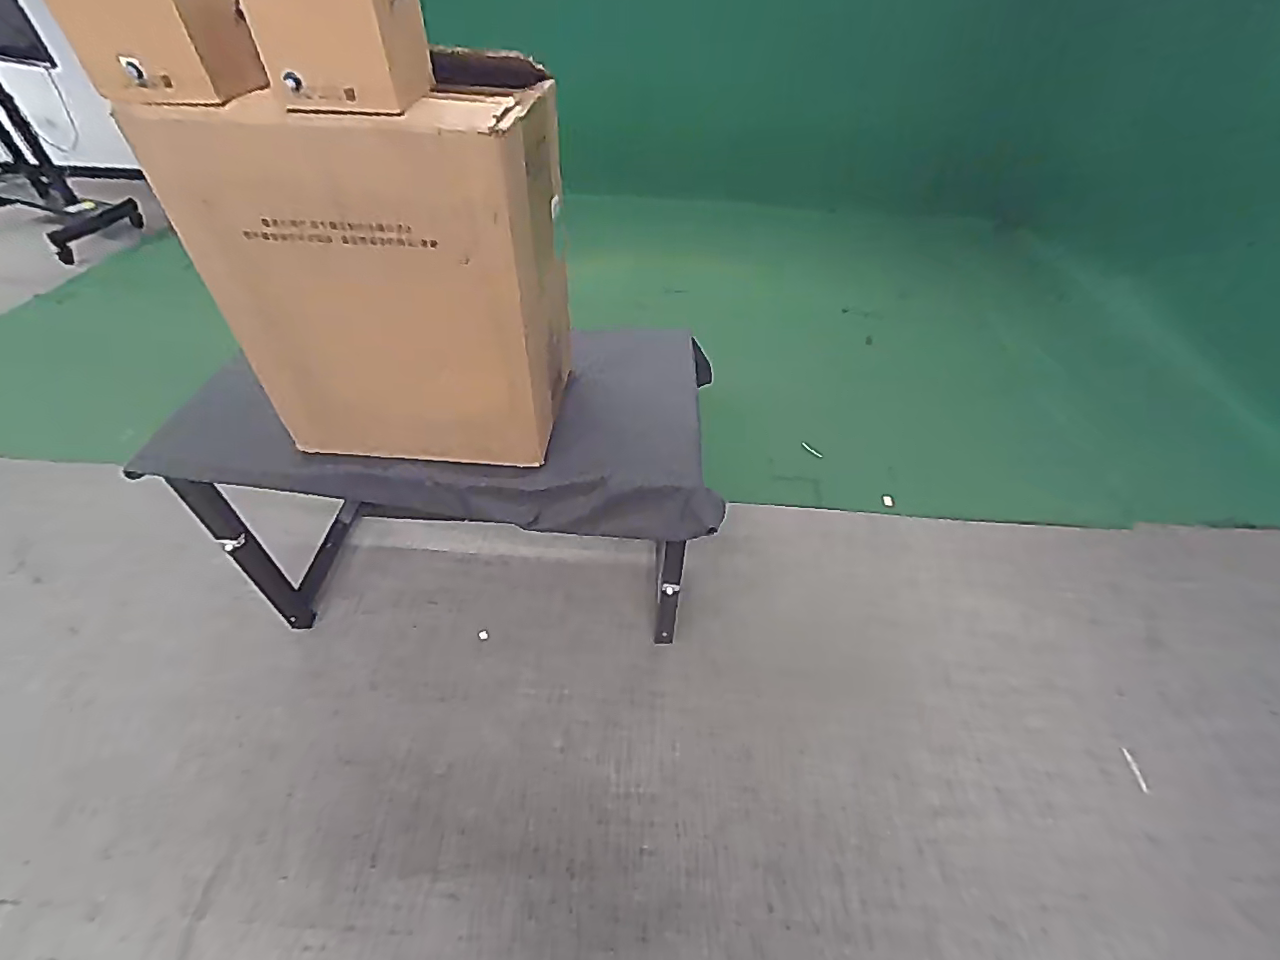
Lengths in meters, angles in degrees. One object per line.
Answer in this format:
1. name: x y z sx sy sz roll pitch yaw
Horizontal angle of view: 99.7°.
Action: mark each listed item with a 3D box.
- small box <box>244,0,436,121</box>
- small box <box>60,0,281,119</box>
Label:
1. small box: -0.397 -0.608 0.738 0.168 0.176 0.179 2 45 0
2. small box: -0.644 -0.622 0.752 0.168 0.176 0.179 0 47 2
